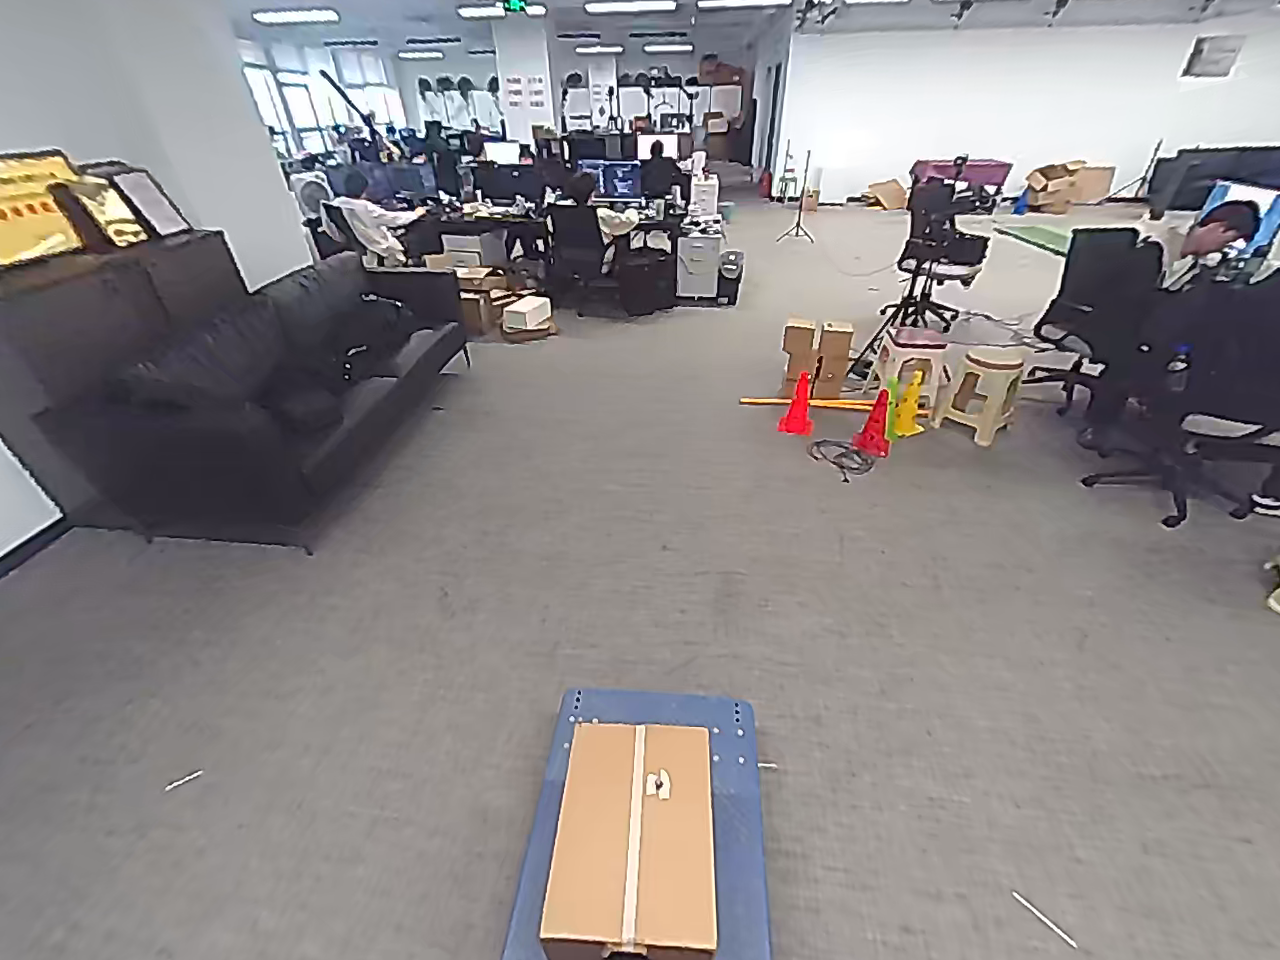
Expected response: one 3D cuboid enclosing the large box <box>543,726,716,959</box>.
[{"bbox_3d":[-0.006,0.818,1.191,0.320,0.320,0.408,1,35,4],"label":"large box"}]
